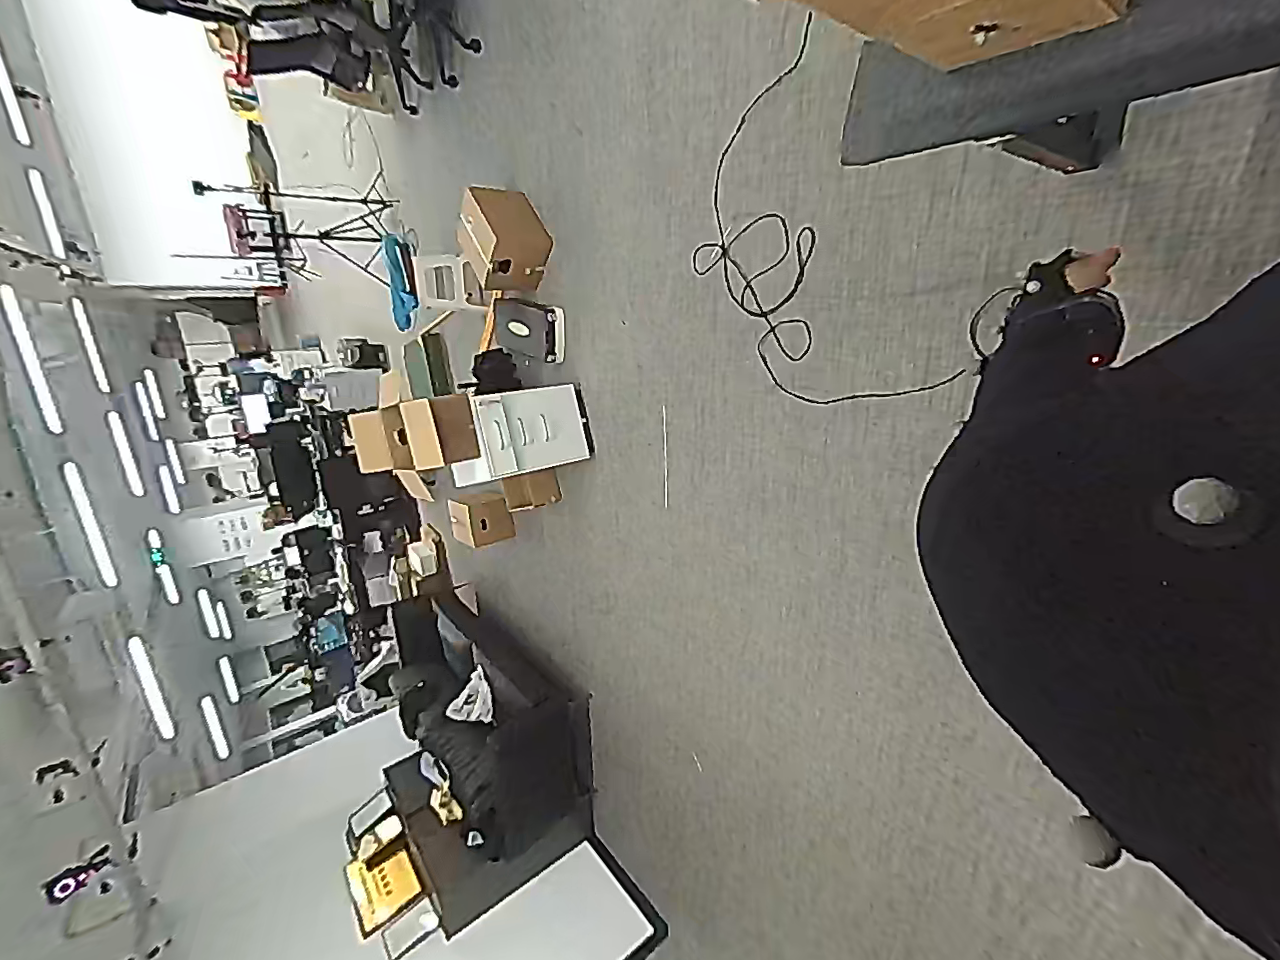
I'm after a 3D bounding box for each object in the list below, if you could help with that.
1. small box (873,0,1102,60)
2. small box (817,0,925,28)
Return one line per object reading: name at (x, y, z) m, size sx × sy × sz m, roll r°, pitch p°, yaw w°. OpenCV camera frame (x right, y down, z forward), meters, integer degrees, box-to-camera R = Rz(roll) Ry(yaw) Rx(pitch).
small box at (0.361, -0.550, 0.529) m, size 0.179 × 0.176 × 0.168 m, roll 22°, pitch 120°, yaw 48°
small box at (0.225, -0.520, 0.445) m, size 0.179 × 0.176 × 0.168 m, roll 15°, pitch 115°, yaw 49°
